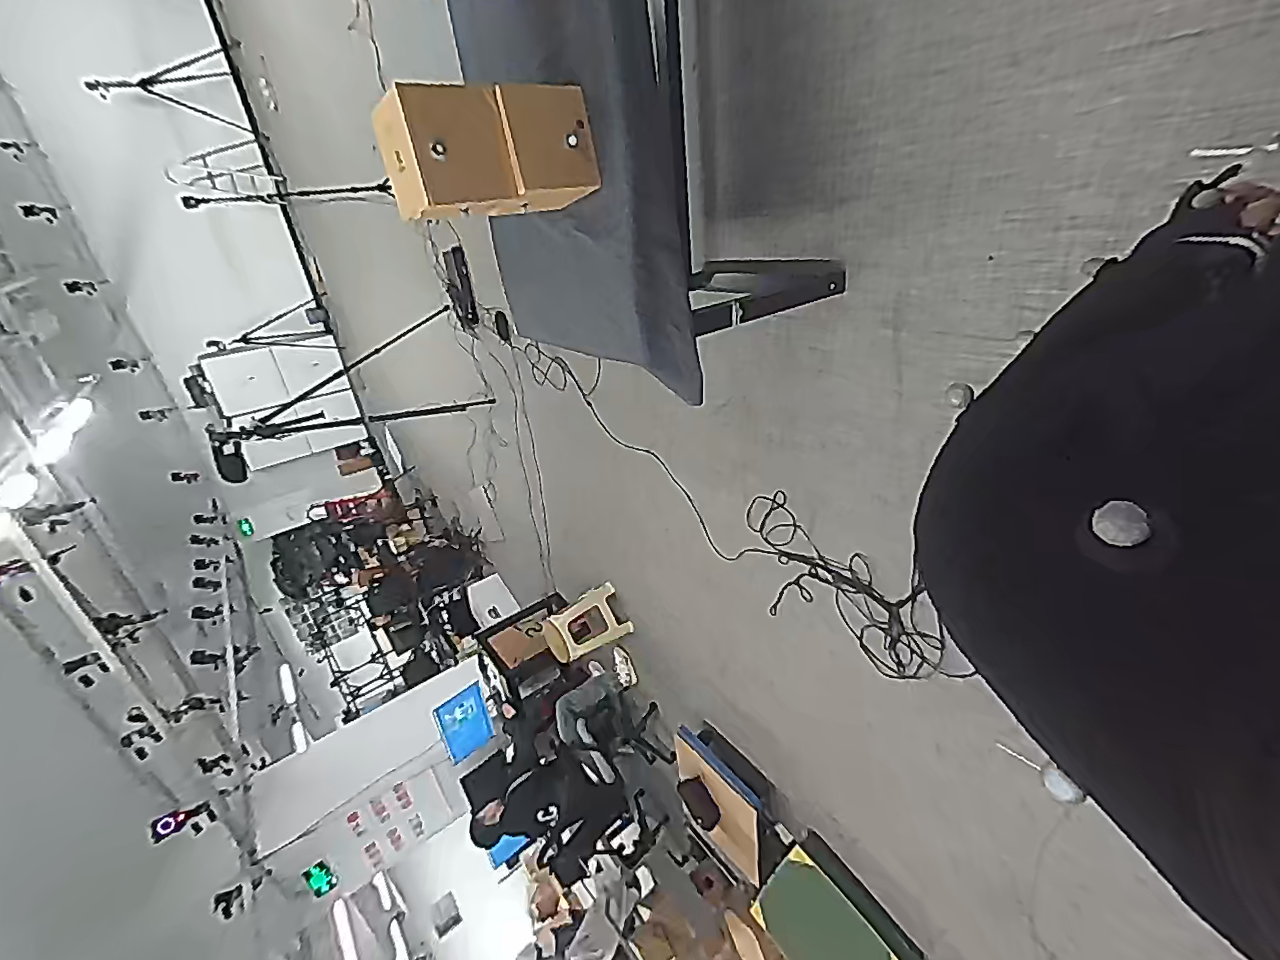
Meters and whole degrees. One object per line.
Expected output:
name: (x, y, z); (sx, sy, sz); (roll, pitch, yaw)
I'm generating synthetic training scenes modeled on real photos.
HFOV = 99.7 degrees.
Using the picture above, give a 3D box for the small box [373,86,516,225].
small box: (-0.337, -0.564, 0.950); (0.168, 0.176, 0.179); (18, 124, 50)

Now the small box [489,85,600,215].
small box: (-0.200, -0.615, 1.023); (0.179, 0.176, 0.168); (13, 122, 53)
